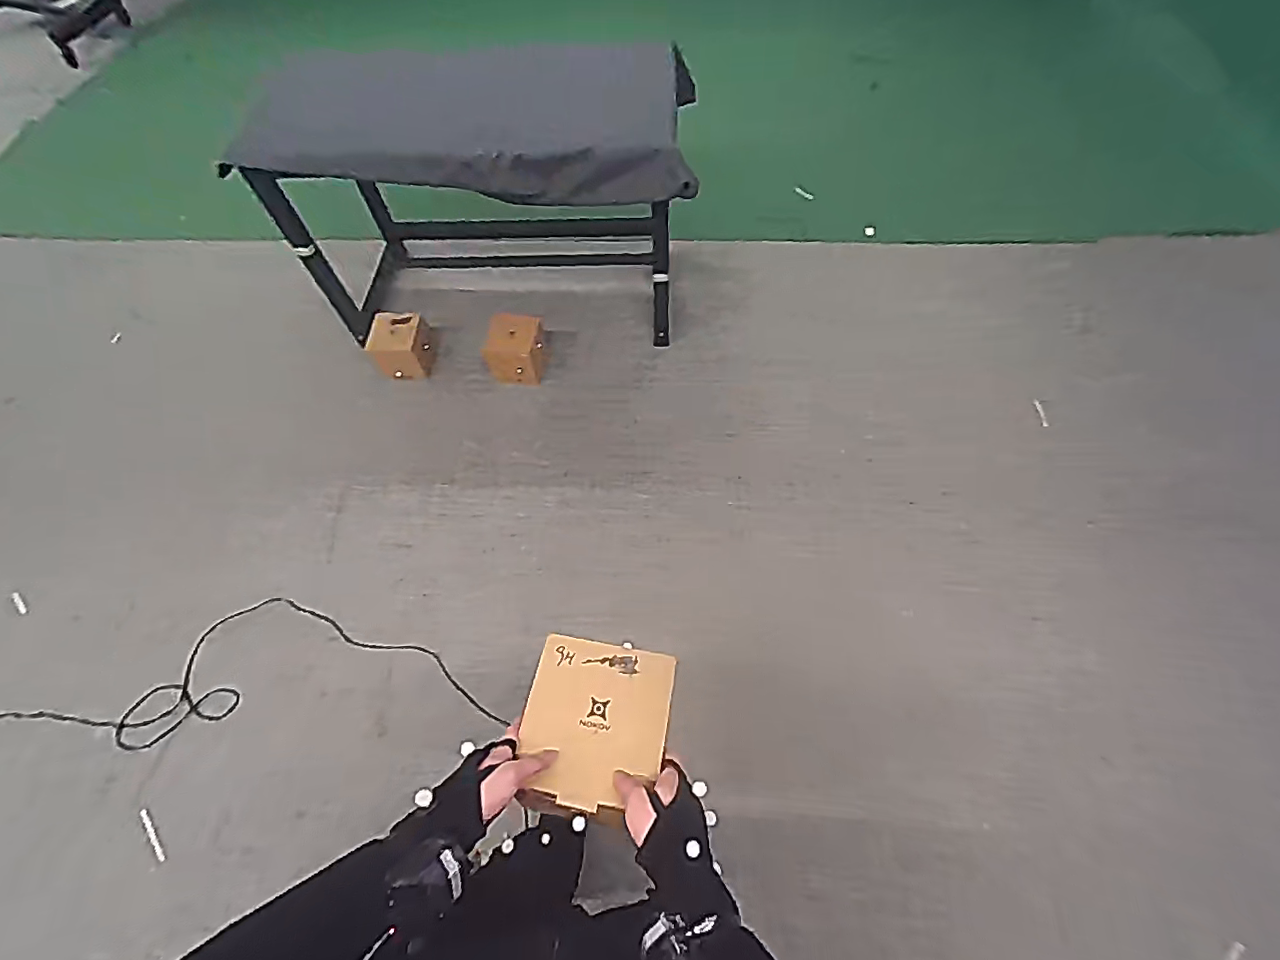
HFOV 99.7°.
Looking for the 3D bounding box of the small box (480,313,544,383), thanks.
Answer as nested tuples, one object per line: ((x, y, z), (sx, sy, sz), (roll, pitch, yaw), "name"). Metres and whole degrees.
((-0.447, -0.465, 1.924), (0.168, 0.176, 0.179), (6, 60, 4), "small box")

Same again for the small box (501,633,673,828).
((-0.054, 0.315, 0.673), (0.168, 0.176, 0.179), (8, 53, 5), "small box")

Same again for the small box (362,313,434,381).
((-0.860, -0.477, 1.945), (0.168, 0.176, 0.179), (0, 62, 3), "small box")
